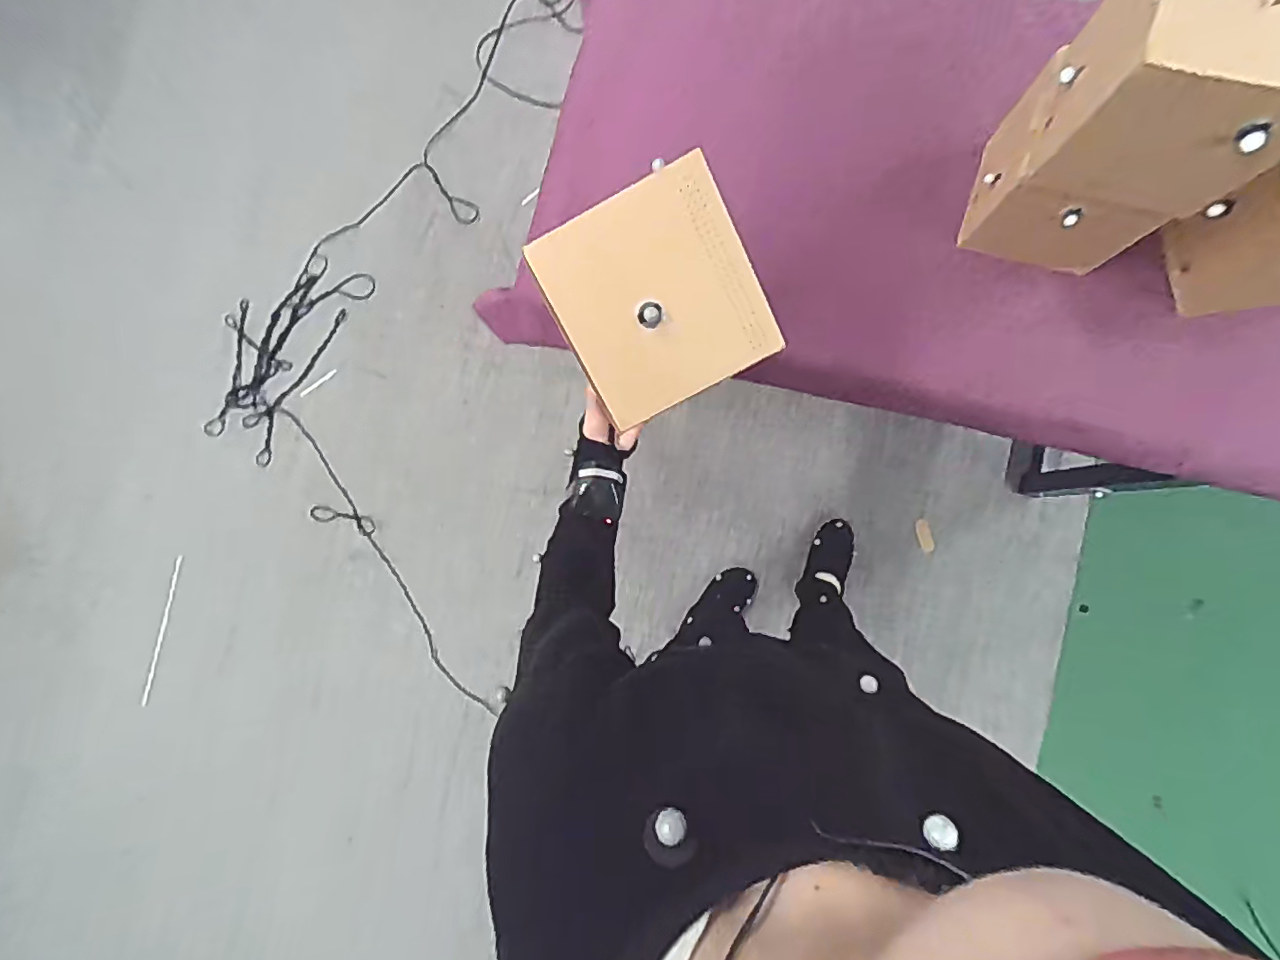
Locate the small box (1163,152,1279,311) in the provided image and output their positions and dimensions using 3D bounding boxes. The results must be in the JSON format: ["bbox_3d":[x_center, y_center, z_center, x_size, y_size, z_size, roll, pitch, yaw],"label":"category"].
[{"bbox_3d":[0.790,-0.319,0.652,0.179,0.176,0.168,-6,84,6],"label":"small box"}]

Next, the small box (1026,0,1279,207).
[{"bbox_3d":[0.529,-0.396,0.521,0.179,0.176,0.168,18,88,7],"label":"small box"}]

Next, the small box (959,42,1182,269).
[{"bbox_3d":[0.544,-0.393,0.685,0.179,0.176,0.168,18,88,7],"label":"small box"}]

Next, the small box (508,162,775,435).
[{"bbox_3d":[0.003,-0.169,0.516,0.176,0.168,0.179,-28,104,5],"label":"small box"}]
